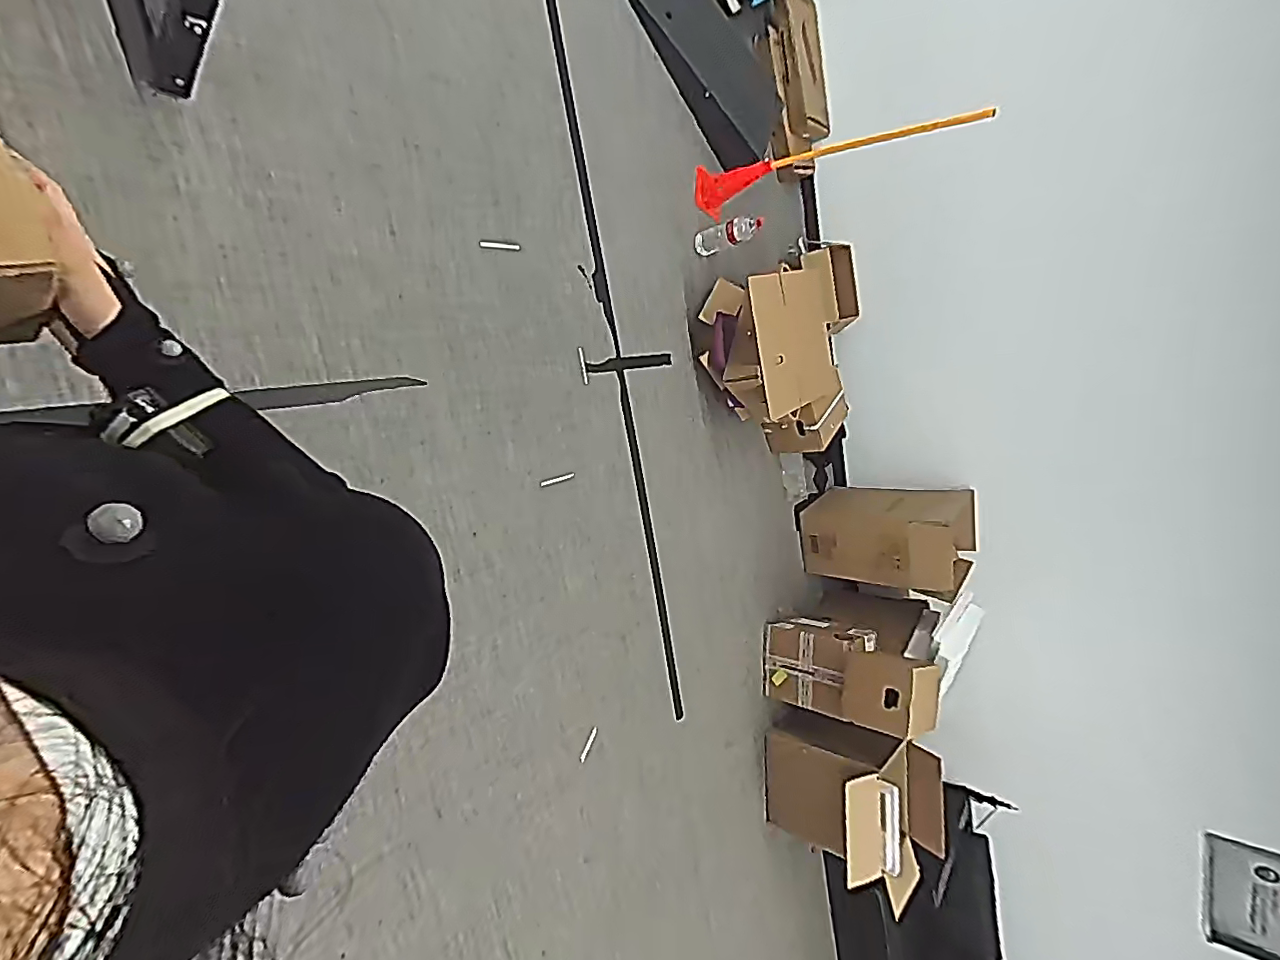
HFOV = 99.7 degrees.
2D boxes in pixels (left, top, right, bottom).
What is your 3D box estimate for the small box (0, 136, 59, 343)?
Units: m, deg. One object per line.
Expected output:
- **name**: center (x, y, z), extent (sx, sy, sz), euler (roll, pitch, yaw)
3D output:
- **small box**: center (-0.465, -0.167, 0.286), extent (0.168, 0.176, 0.179), euler (-30, 108, -49)
